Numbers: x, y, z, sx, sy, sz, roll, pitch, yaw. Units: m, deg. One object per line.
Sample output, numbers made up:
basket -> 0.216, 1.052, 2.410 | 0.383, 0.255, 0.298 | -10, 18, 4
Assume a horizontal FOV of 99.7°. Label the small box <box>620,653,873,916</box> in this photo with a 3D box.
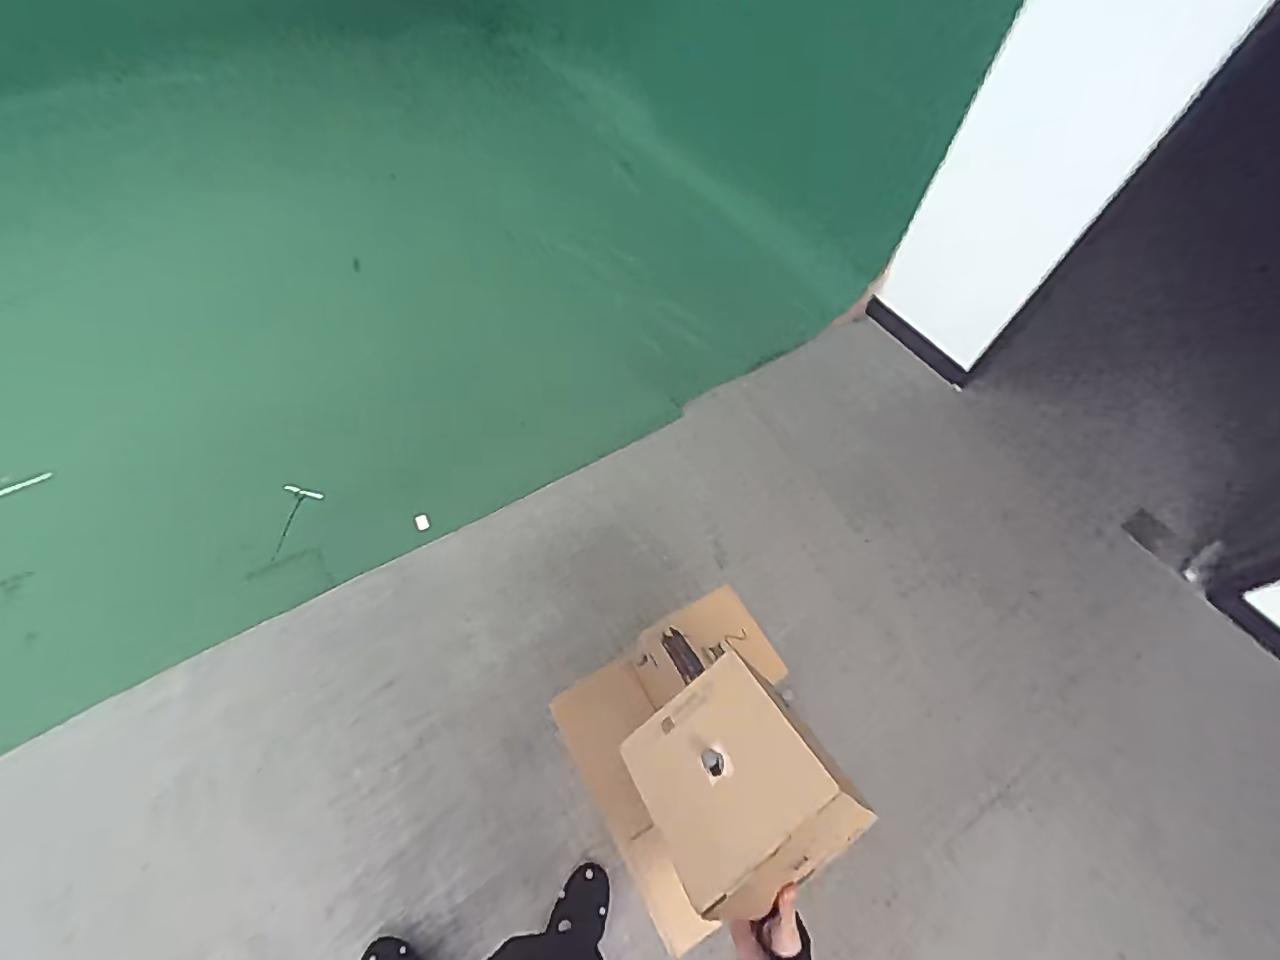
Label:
small box -> 0.107, 0.313, 0.571 | 0.168, 0.179, 0.176 | -42, 42, 0
